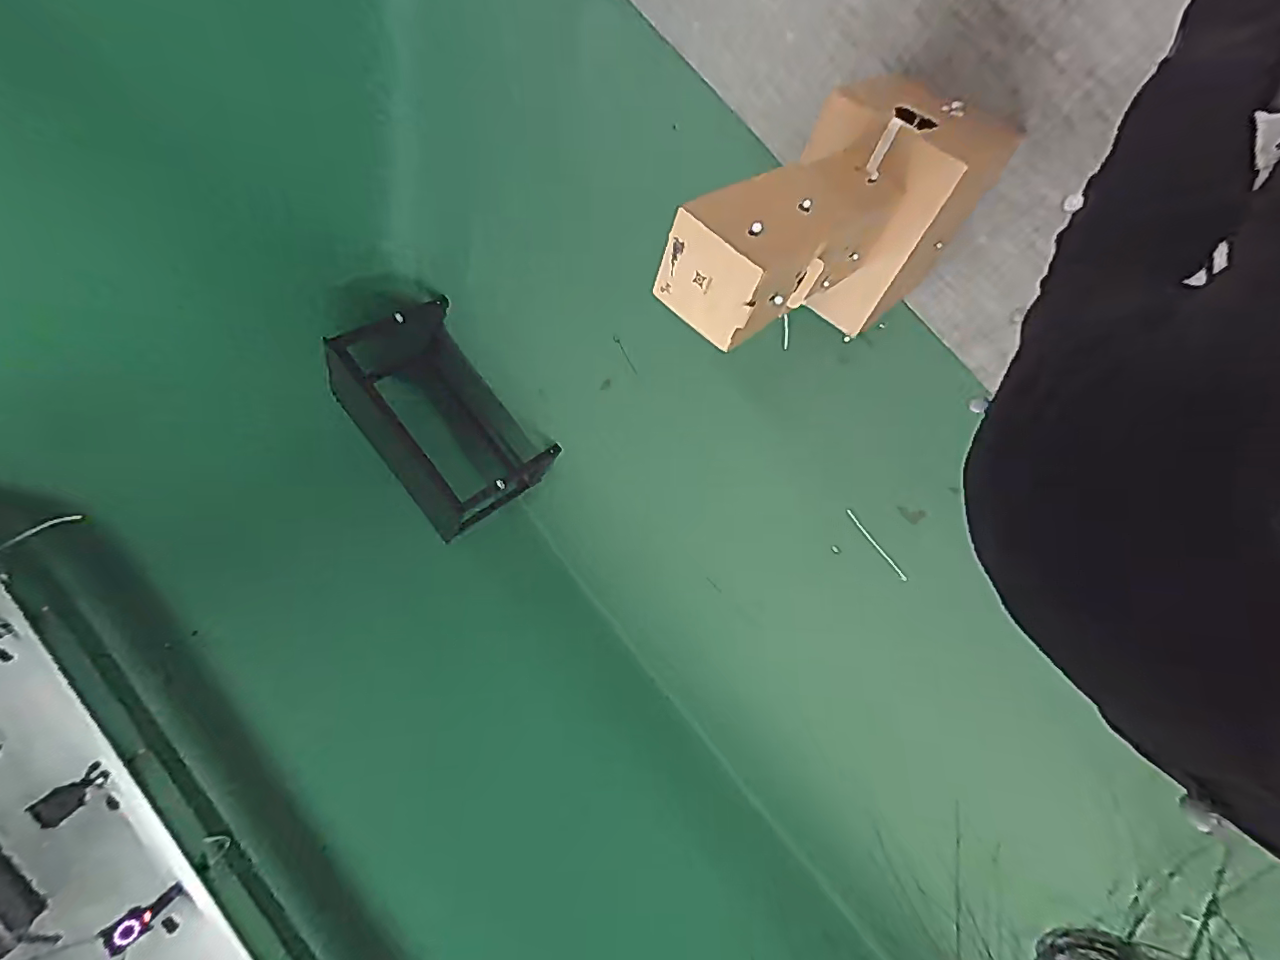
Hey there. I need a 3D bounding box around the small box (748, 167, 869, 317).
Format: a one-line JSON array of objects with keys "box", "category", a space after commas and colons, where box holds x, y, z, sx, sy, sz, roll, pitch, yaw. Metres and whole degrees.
[{"box": [0.280, -0.440, 0.990, 0.179, 0.176, 0.168, 45, 147, 13], "category": "small box"}]

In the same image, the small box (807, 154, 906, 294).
[{"box": [0.392, -0.514, 1.084, 0.168, 0.176, 0.179, 43, 146, 14], "category": "small box"}]

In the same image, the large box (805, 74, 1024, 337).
[{"box": [0.555, -0.621, 1.234, 0.320, 0.320, 0.408, 44, 148, 18], "category": "large box"}]

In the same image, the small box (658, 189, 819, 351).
[{"box": [0.165, -0.356, 0.907, 0.179, 0.176, 0.168, 43, 146, 13], "category": "small box"}]
